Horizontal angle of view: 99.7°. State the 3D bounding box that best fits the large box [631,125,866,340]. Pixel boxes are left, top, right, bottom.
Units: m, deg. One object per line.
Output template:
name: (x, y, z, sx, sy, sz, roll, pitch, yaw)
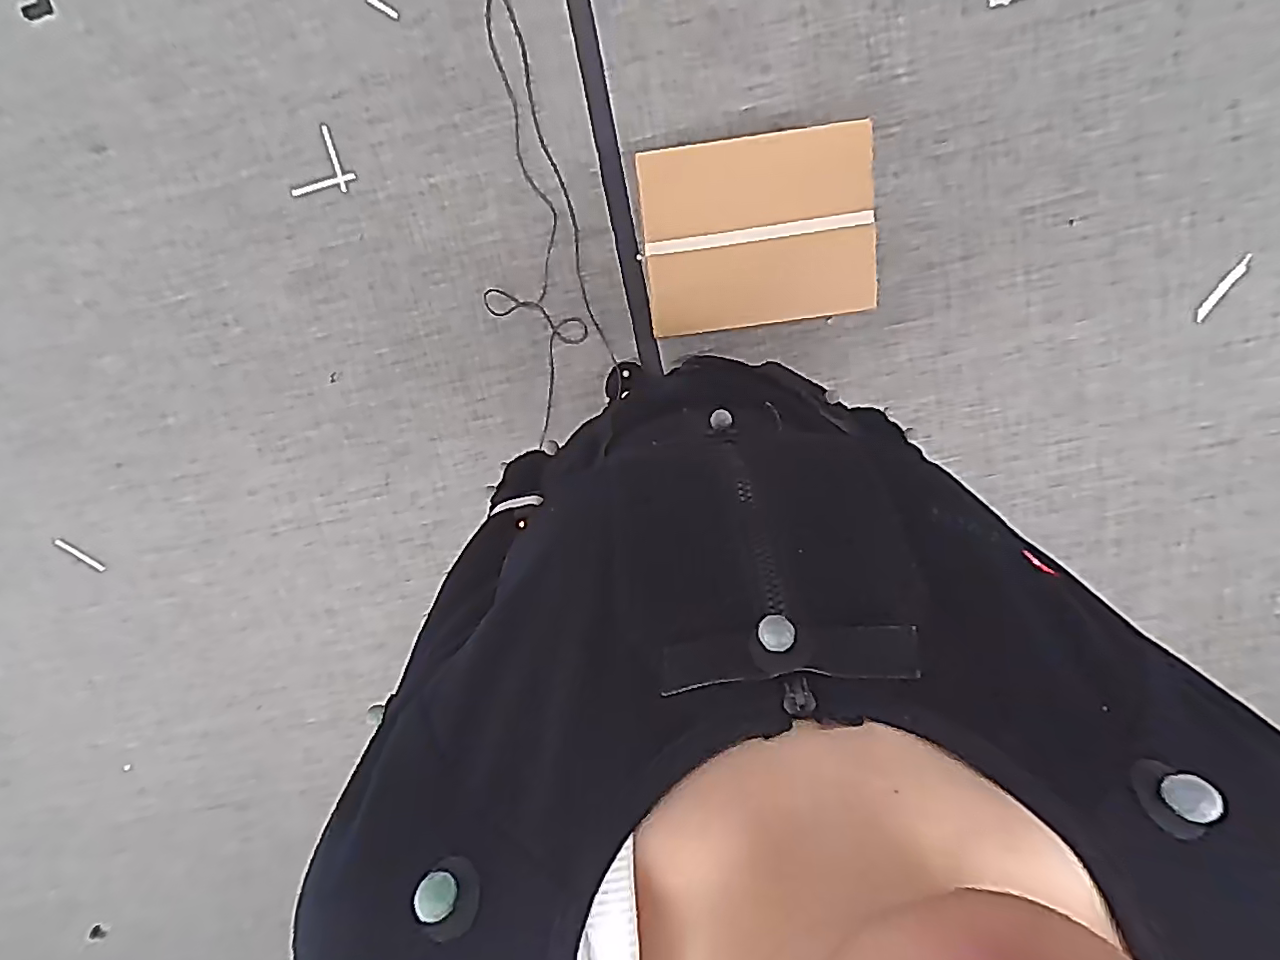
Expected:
large box: (0.203, -0.471, 1.110, 0.408, 0.320, 0.320, -7, 103, 2)
